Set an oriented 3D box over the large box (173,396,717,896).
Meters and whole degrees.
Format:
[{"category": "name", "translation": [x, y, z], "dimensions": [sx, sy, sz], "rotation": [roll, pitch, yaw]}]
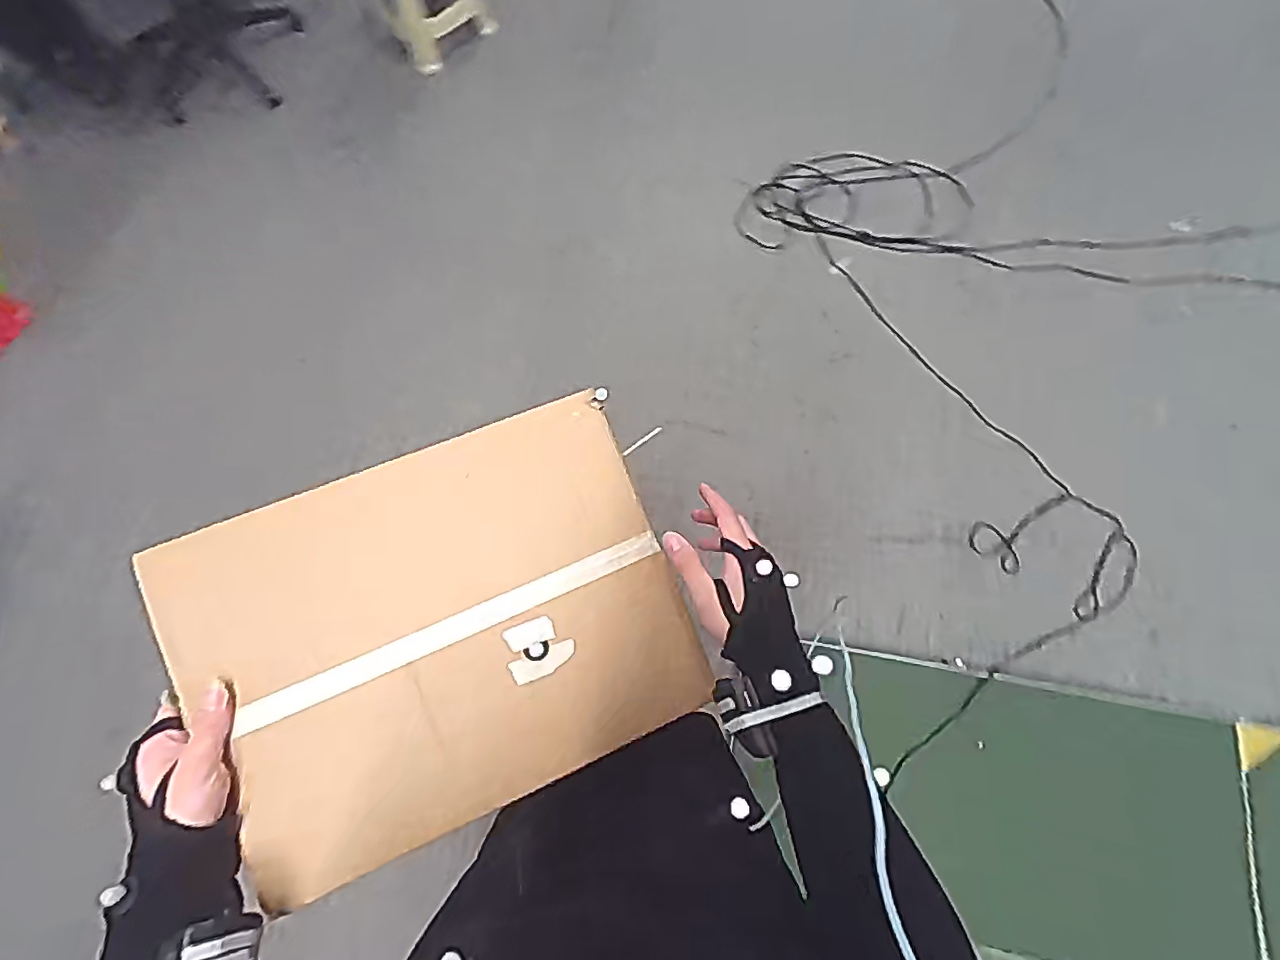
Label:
[{"category": "large box", "translation": [-0.187, 0.148, 0.631], "dimensions": [0.408, 0.320, 0.320], "rotation": [-21, 87, -12]}]
